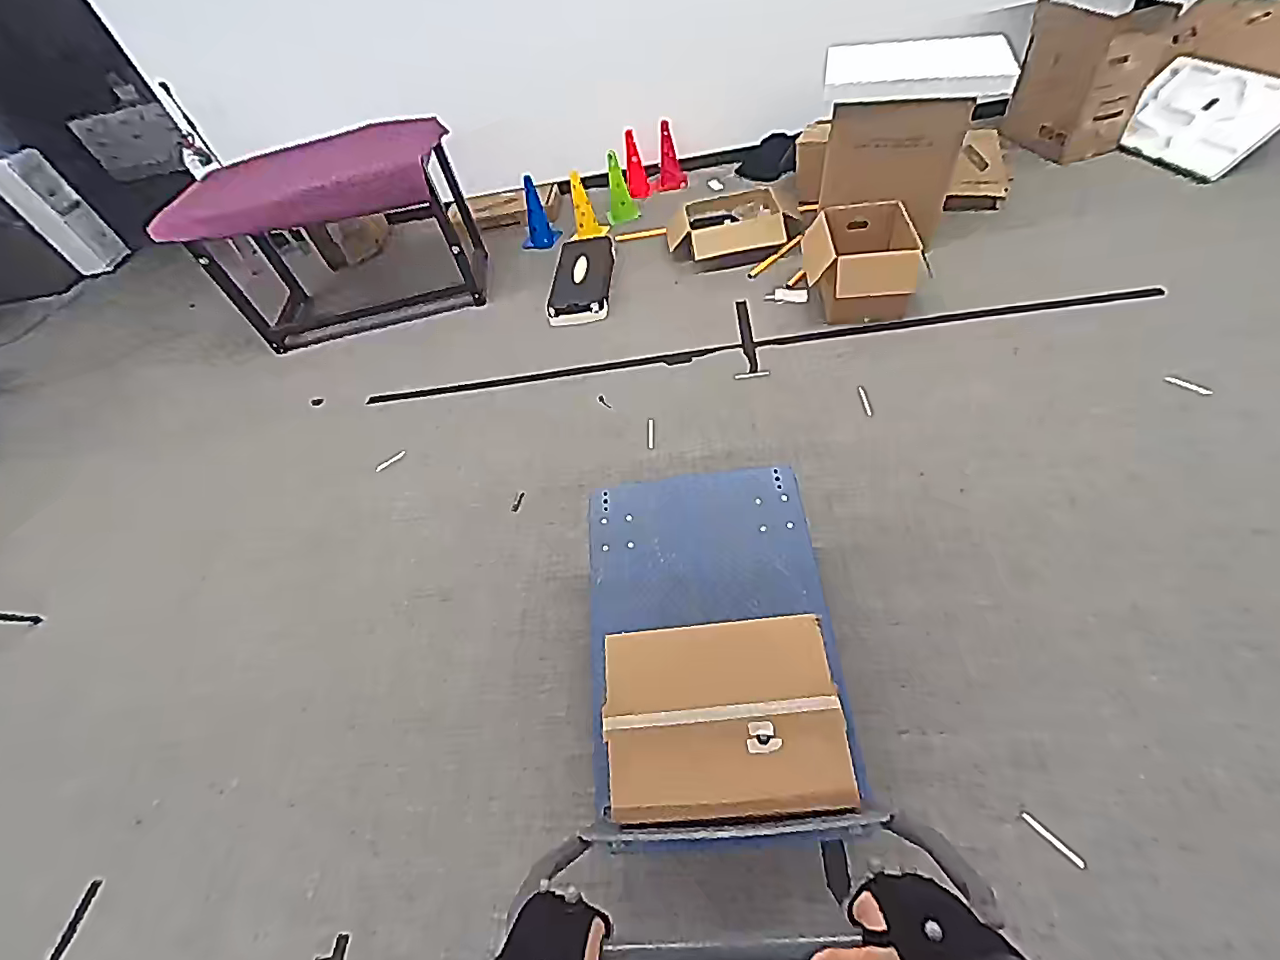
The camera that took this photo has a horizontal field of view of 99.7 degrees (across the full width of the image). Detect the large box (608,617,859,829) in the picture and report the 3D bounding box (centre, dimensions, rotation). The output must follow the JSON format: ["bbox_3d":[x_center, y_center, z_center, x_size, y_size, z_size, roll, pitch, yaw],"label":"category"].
[{"bbox_3d":[0.165,0.492,1.087,0.408,0.320,0.320,-8,60,5],"label":"large box"}]
